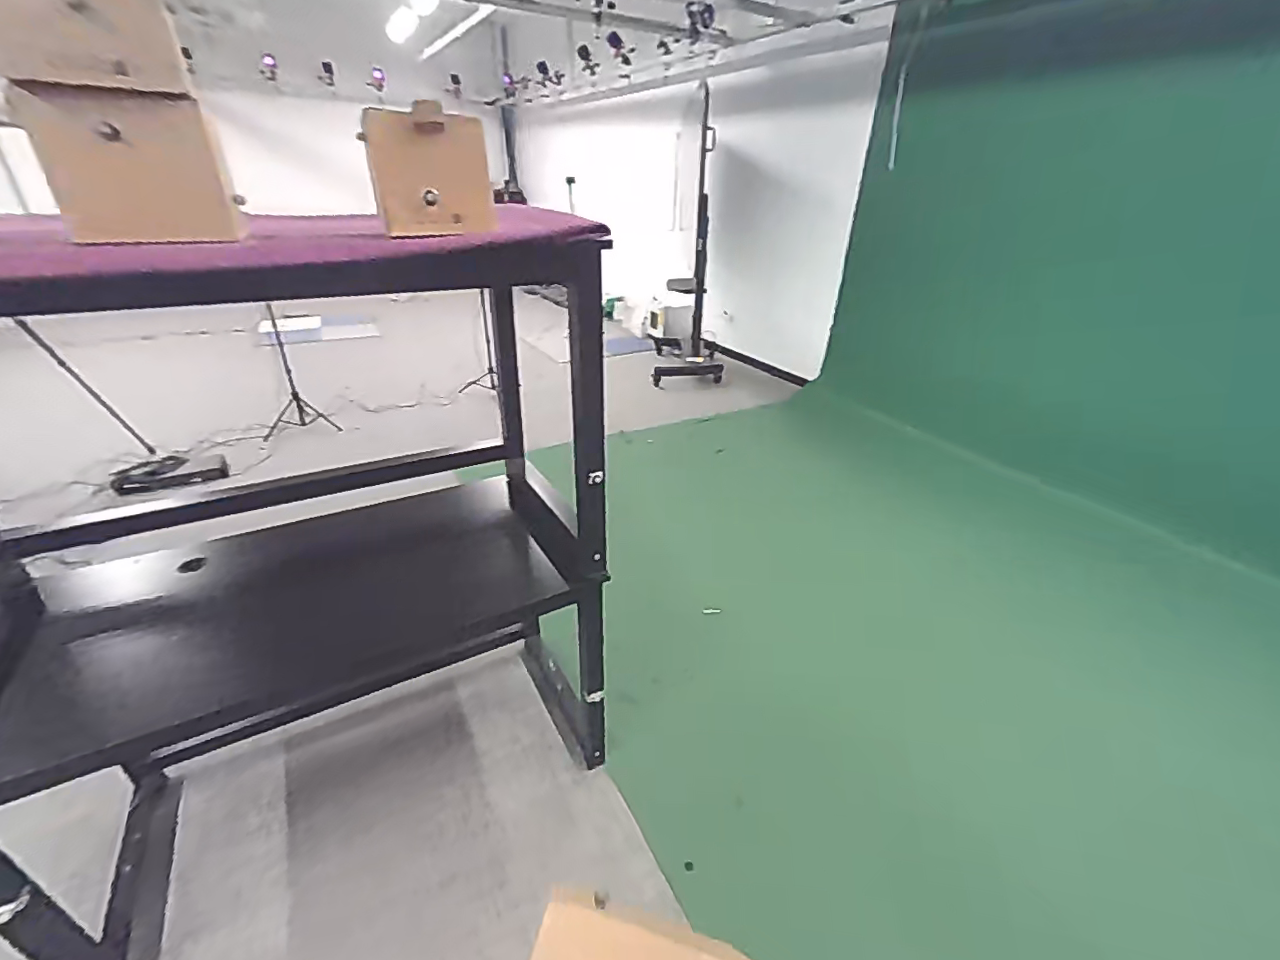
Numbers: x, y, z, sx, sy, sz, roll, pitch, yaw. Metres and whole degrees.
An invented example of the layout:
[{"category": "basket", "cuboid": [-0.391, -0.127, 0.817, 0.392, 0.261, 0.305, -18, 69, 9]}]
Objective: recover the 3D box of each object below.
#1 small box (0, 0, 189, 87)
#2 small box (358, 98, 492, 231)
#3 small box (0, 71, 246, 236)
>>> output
[{"category": "small box", "cuboid": [-0.662, -0.562, 0.637, 0.168, 0.176, 0.179, -17, 34, -30]}, {"category": "small box", "cuboid": [-0.349, -0.502, 0.879, 0.168, 0.176, 0.179, -14, 31, -23]}, {"category": "small box", "cuboid": [-0.665, -0.423, 0.725, 0.179, 0.176, 0.168, -13, 31, -26]}]
